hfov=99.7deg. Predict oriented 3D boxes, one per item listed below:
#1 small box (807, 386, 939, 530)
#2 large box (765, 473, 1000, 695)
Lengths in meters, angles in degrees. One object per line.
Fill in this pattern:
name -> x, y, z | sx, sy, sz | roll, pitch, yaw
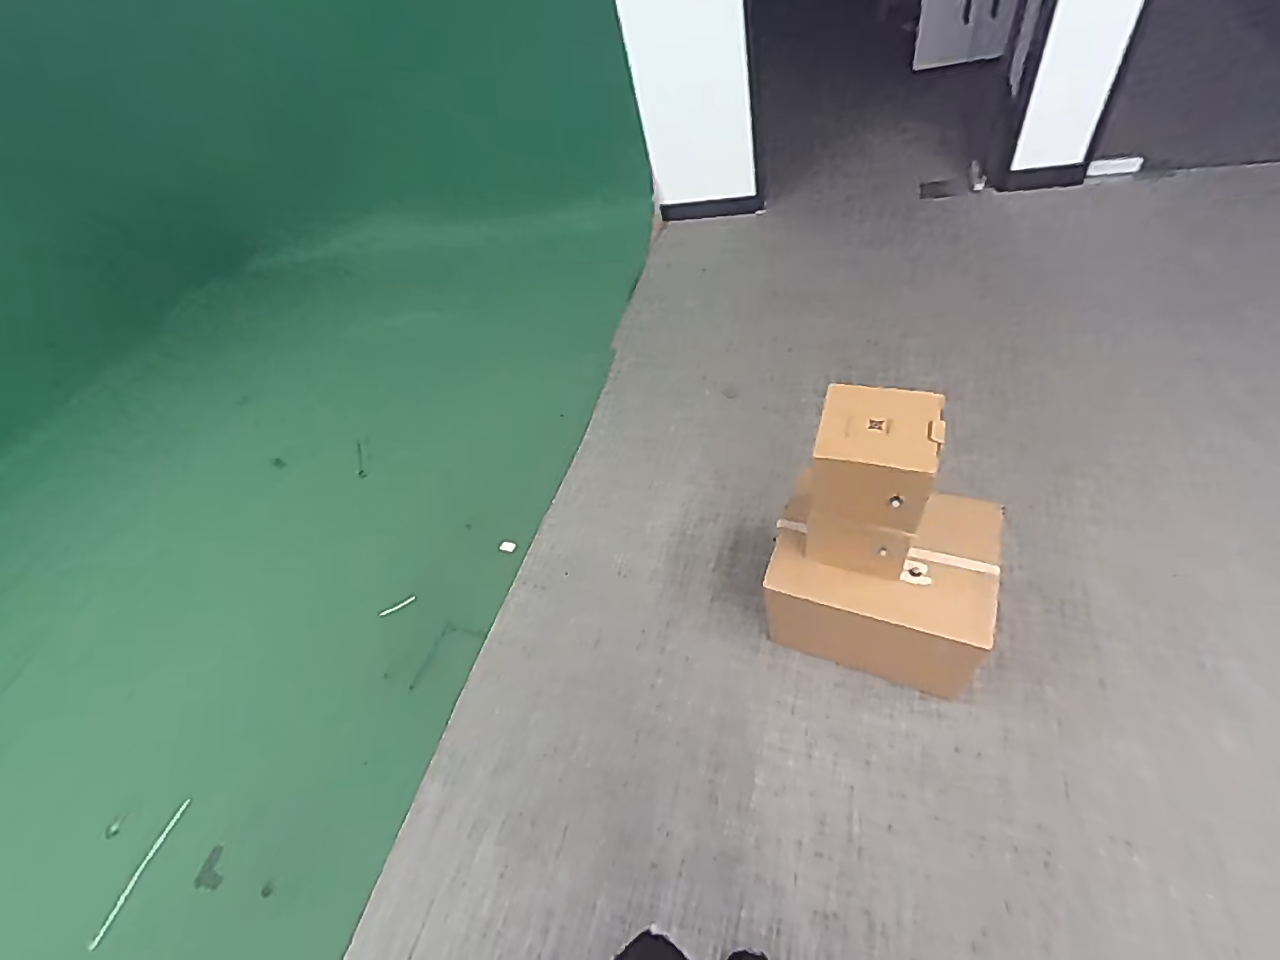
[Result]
small box -> 0.383, -0.035, 0.904 | 0.179, 0.176, 0.168 | 8, 55, 23
large box -> 0.513, 0.224, 1.193 | 0.408, 0.320, 0.320 | 12, 59, 23
